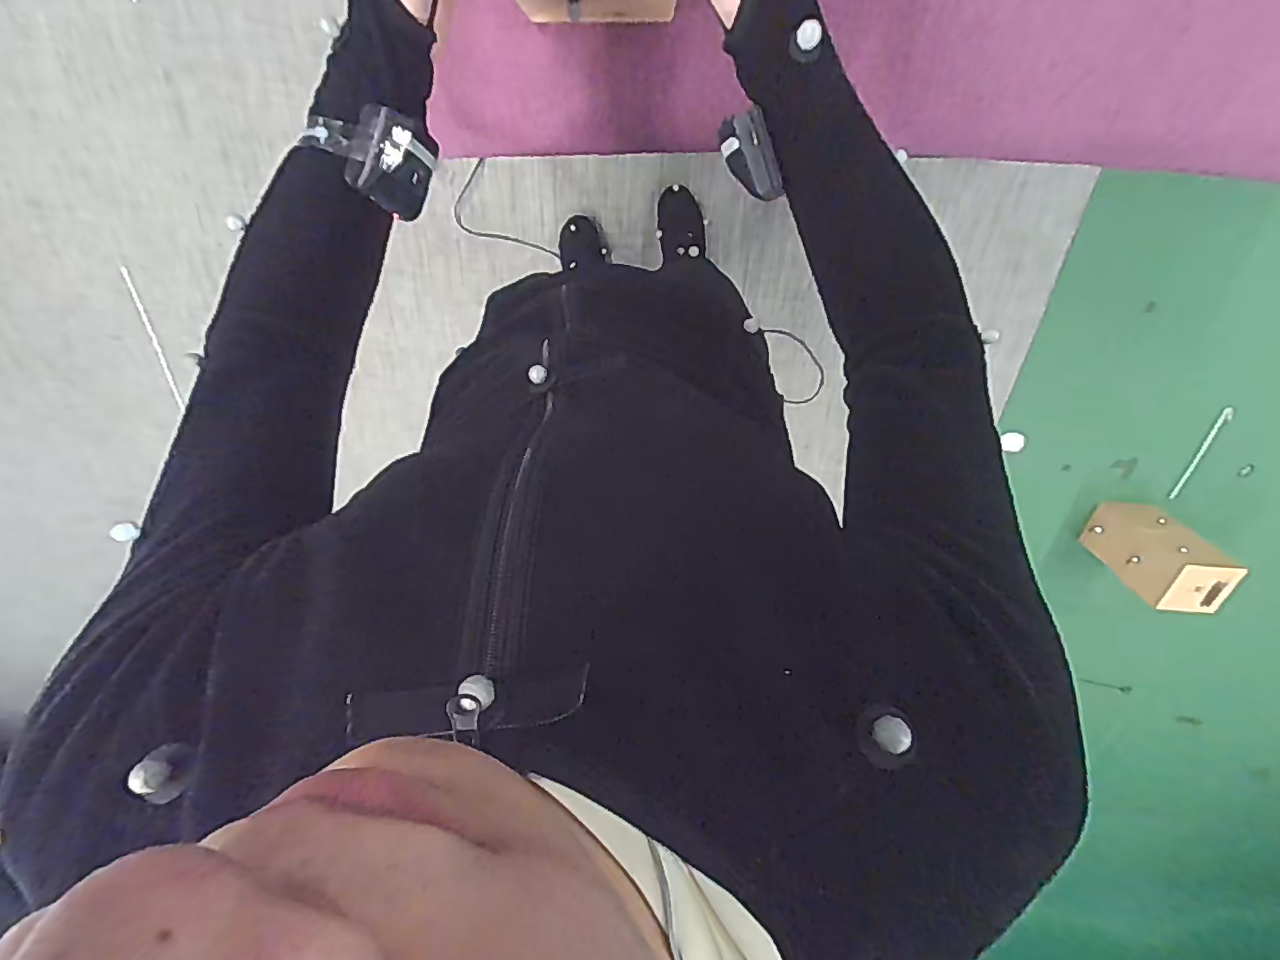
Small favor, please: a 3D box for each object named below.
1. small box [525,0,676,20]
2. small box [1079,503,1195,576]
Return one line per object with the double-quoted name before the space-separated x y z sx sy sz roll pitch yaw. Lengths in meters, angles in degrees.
"small box" -0.043 -0.569 0.518 0.168 0.176 0.179 1 119 1
"small box" 1.582 0.187 1.735 0.179 0.176 0.168 5 120 -1
